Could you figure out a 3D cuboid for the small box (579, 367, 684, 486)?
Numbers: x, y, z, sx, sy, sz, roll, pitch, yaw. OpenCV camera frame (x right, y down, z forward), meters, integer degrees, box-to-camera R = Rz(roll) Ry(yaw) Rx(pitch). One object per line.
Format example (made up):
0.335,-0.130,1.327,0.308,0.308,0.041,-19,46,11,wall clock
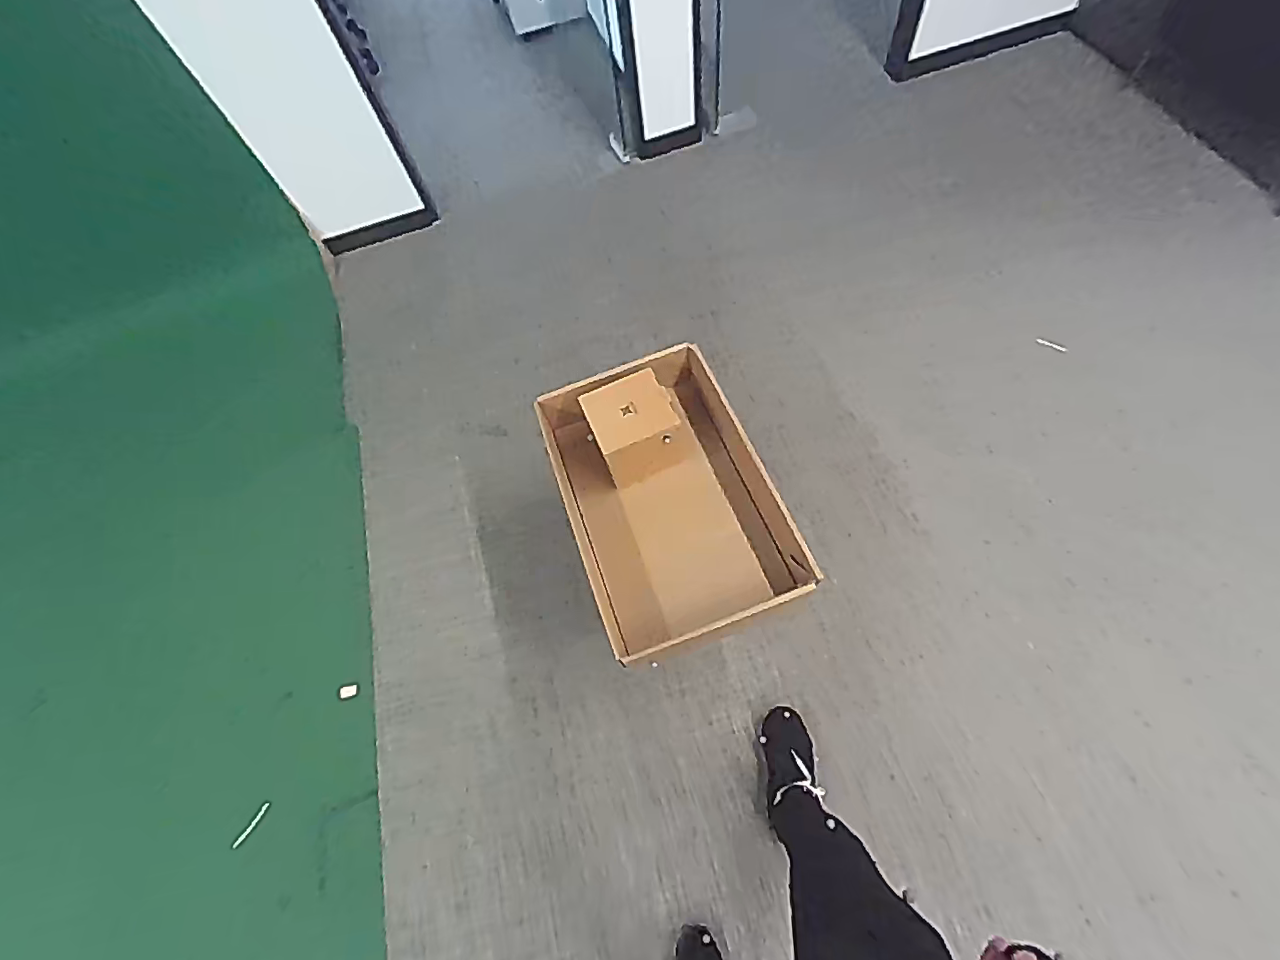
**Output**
-0.013,-0.112,1.203,0.179,0.176,0.168,-23,62,-5,small box
